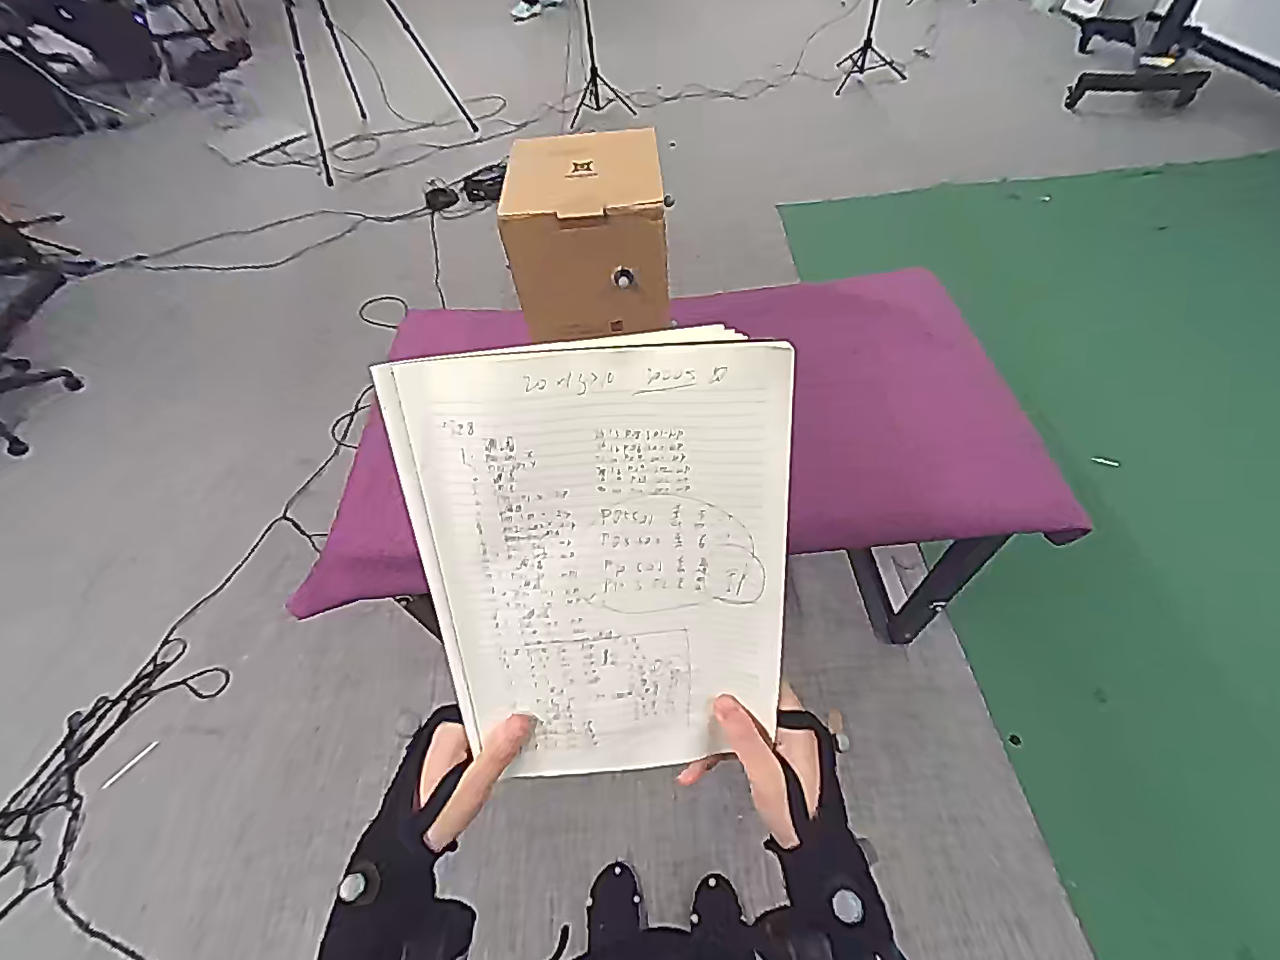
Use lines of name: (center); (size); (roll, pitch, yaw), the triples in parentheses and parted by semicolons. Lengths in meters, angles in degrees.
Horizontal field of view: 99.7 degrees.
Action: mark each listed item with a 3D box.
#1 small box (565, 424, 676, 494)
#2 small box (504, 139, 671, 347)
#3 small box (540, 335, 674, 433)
small box: (-0.028, -0.087, 0.914); (0.168, 0.176, 0.179); (-4, 54, 2)
small box: (-0.051, -0.273, 0.645); (0.168, 0.176, 0.179); (-3, 53, 2)
small box: (-0.039, -0.180, 0.778); (0.168, 0.176, 0.179); (-4, 52, 2)
